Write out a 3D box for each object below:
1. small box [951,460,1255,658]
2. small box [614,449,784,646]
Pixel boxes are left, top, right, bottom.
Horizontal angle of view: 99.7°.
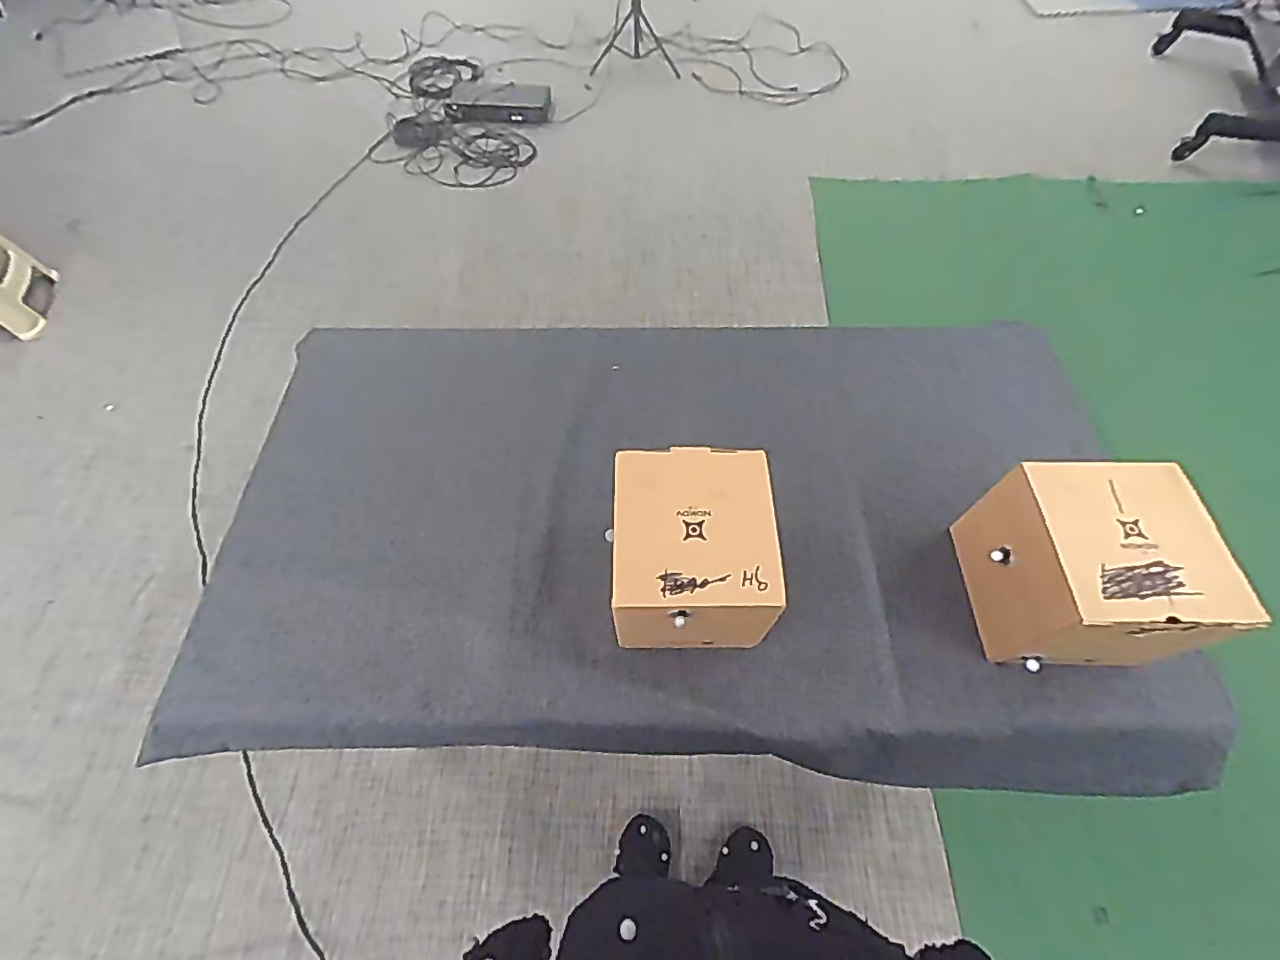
[{"bbox_3d":[0.484,0.095,0.605,0.168,0.176,0.179,1,59,2],"label":"small box"},{"bbox_3d":[0.057,0.081,0.623,0.168,0.176,0.179,0,60,1],"label":"small box"}]
